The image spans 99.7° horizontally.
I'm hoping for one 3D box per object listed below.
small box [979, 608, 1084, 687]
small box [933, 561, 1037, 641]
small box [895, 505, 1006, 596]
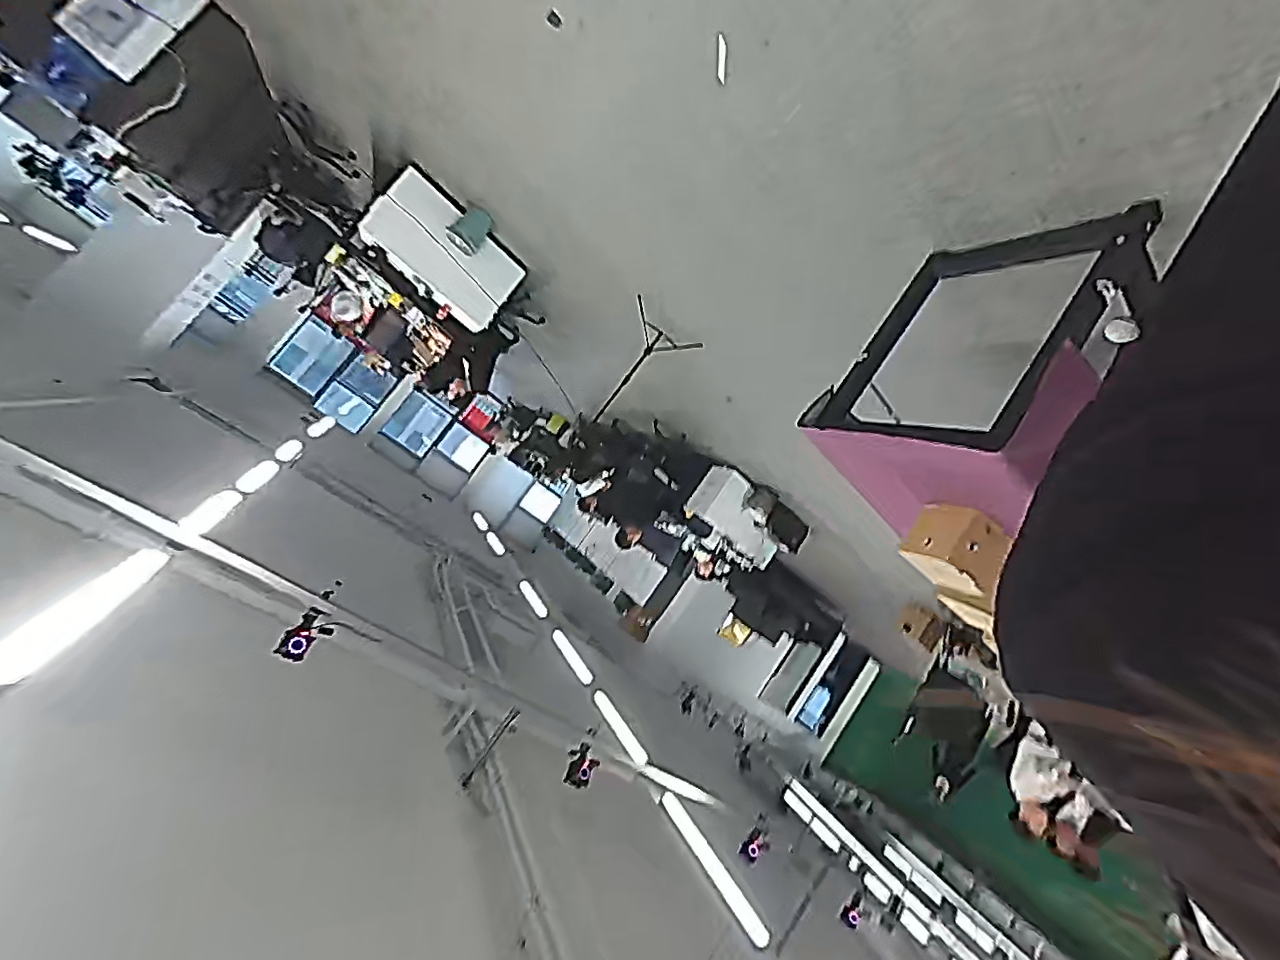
[{"bbox_3d":[1.216,0.500,1.680,0.168,0.176,0.179,38,172,-18],"label":"small box"},{"bbox_3d":[1.012,0.332,1.577,0.168,0.176,0.179,39,173,-16],"label":"small box"},{"bbox_3d":[0.838,0.182,1.452,0.168,0.176,0.179,39,173,-14],"label":"small box"}]
